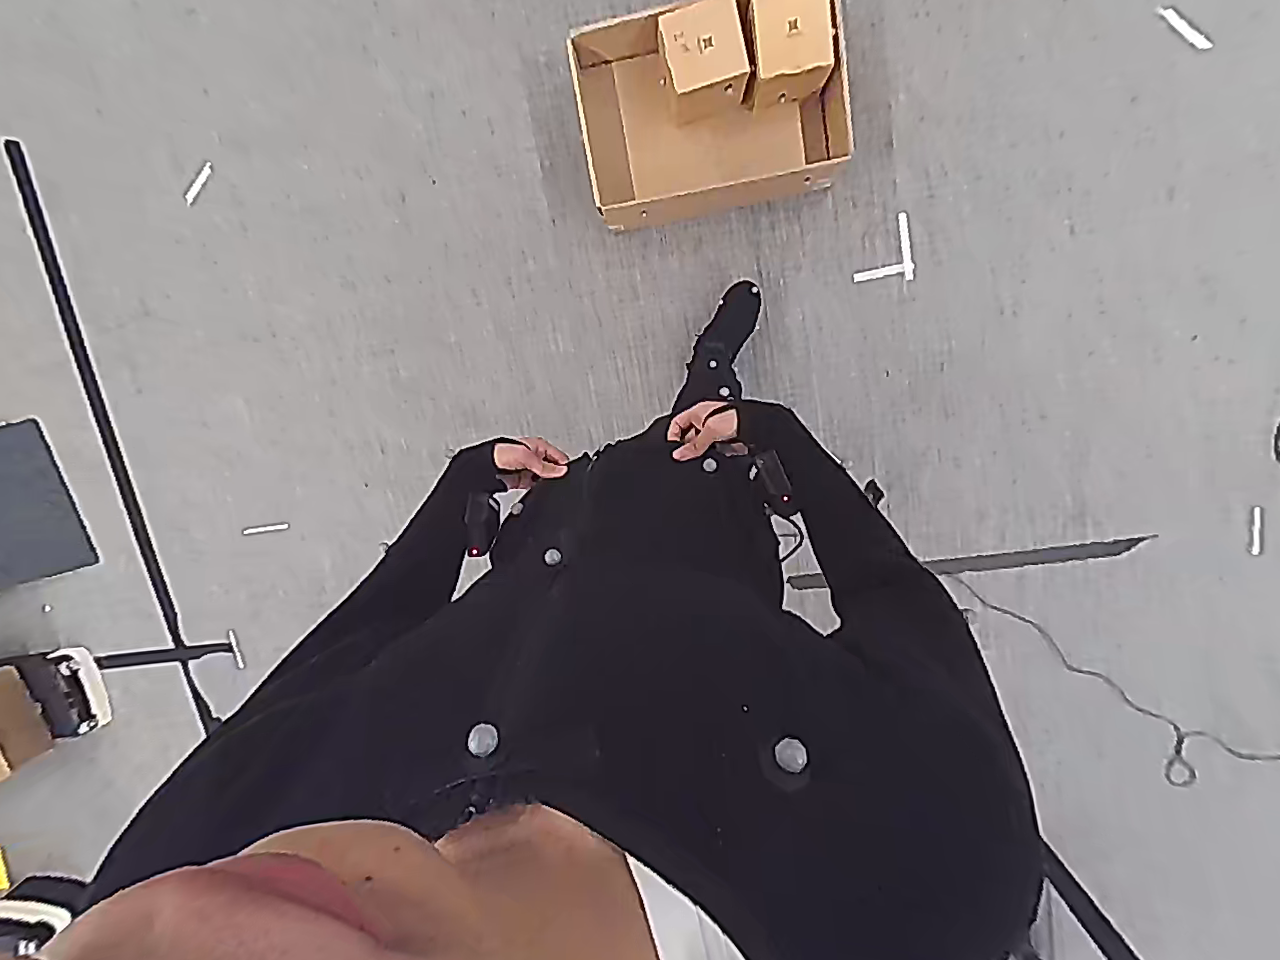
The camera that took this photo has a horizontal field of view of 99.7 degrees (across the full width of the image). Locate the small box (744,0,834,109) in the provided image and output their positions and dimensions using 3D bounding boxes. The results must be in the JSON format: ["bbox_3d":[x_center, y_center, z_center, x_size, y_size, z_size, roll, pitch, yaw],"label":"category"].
[{"bbox_3d":[0.343,-1.012,1.264,0.168,0.176,0.179,-8,103,6],"label":"small box"}]
